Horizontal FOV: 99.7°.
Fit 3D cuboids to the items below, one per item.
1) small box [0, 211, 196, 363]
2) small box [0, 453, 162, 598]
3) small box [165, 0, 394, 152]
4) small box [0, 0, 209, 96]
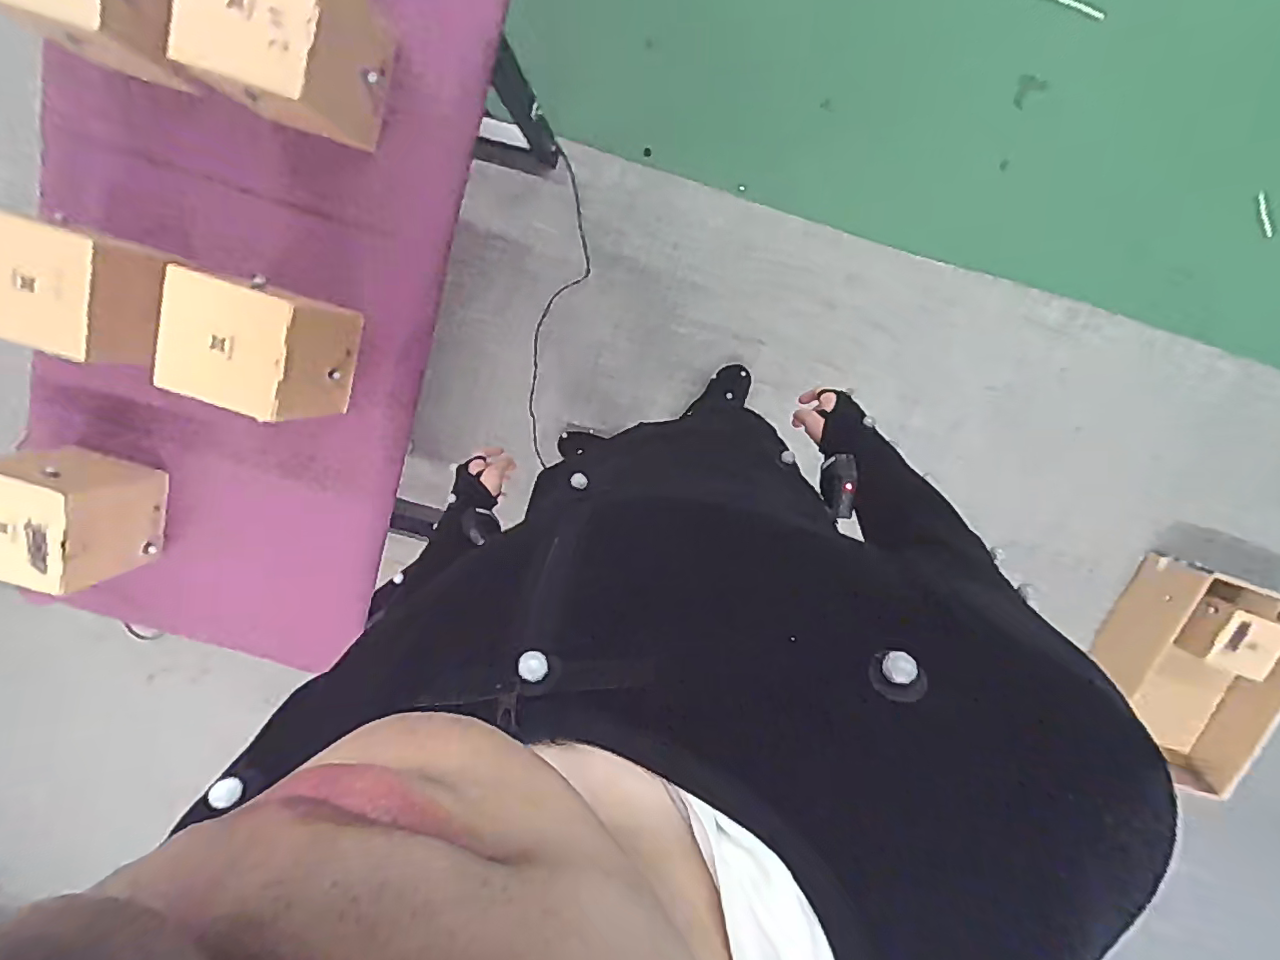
[{"bbox_3d":[-0.819,-0.274,0.800,0.179,0.176,0.168,17,102,-2],"label":"small box"},{"bbox_3d":[-0.925,0.062,0.867,0.179,0.176,0.168,16,101,0],"label":"small box"},{"bbox_3d":[-0.466,-0.573,0.720,0.179,0.176,0.168,19,102,0],"label":"small box"},{"bbox_3d":[-0.716,-0.655,0.719,0.179,0.176,0.168,17,102,-1],"label":"small box"}]
